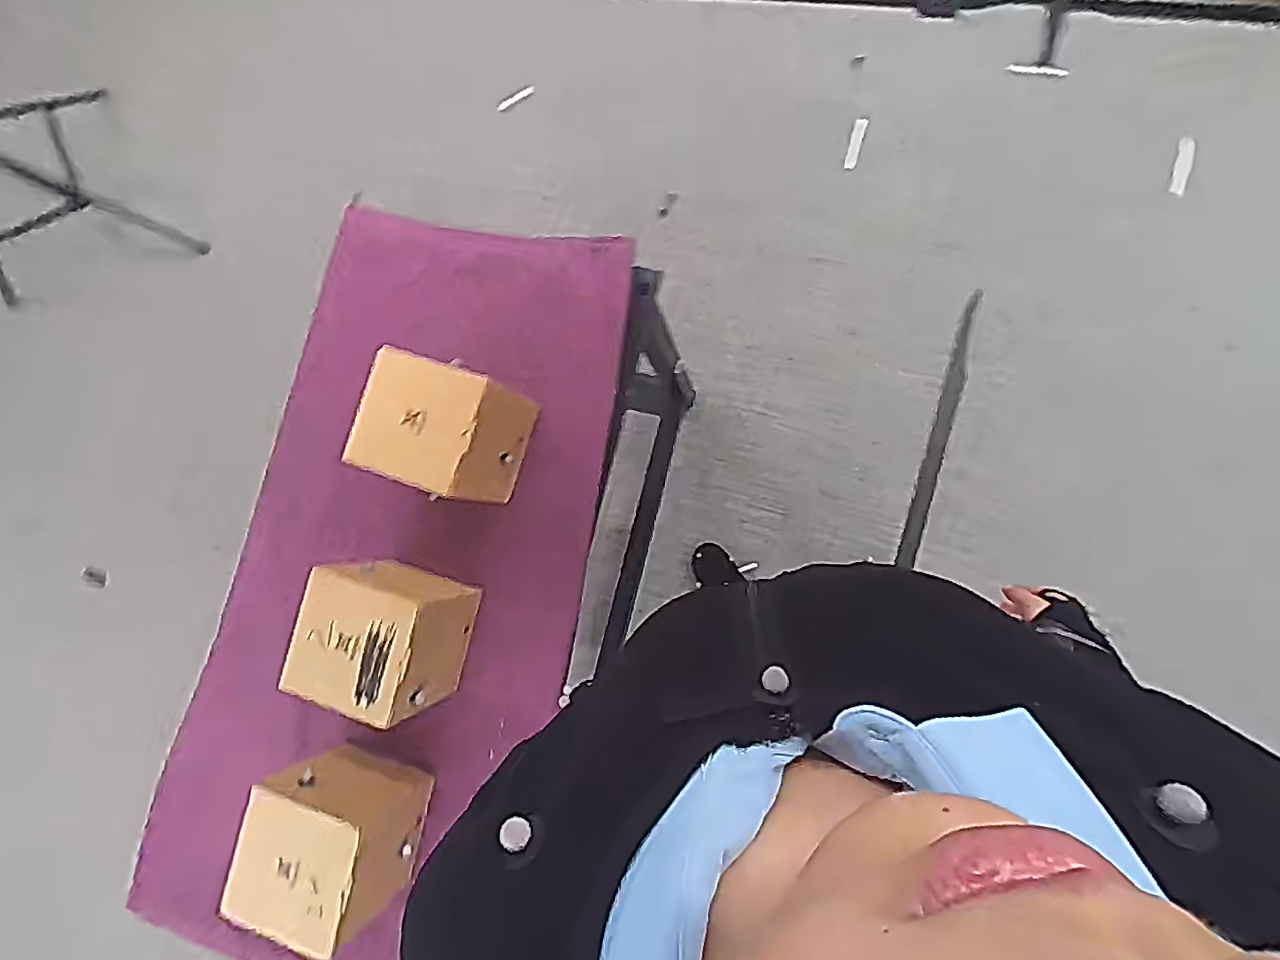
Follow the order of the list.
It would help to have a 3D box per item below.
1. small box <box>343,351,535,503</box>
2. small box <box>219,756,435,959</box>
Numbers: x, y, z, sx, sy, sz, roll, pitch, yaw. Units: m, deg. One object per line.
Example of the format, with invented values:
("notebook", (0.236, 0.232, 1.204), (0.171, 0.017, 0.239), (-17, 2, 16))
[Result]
("small box", (-0.283, -0.068, 0.795), (0.179, 0.176, 0.168), (17, 88, 13))
("small box", (-0.427, 0.516, 0.762), (0.179, 0.176, 0.168), (11, 86, 12))
